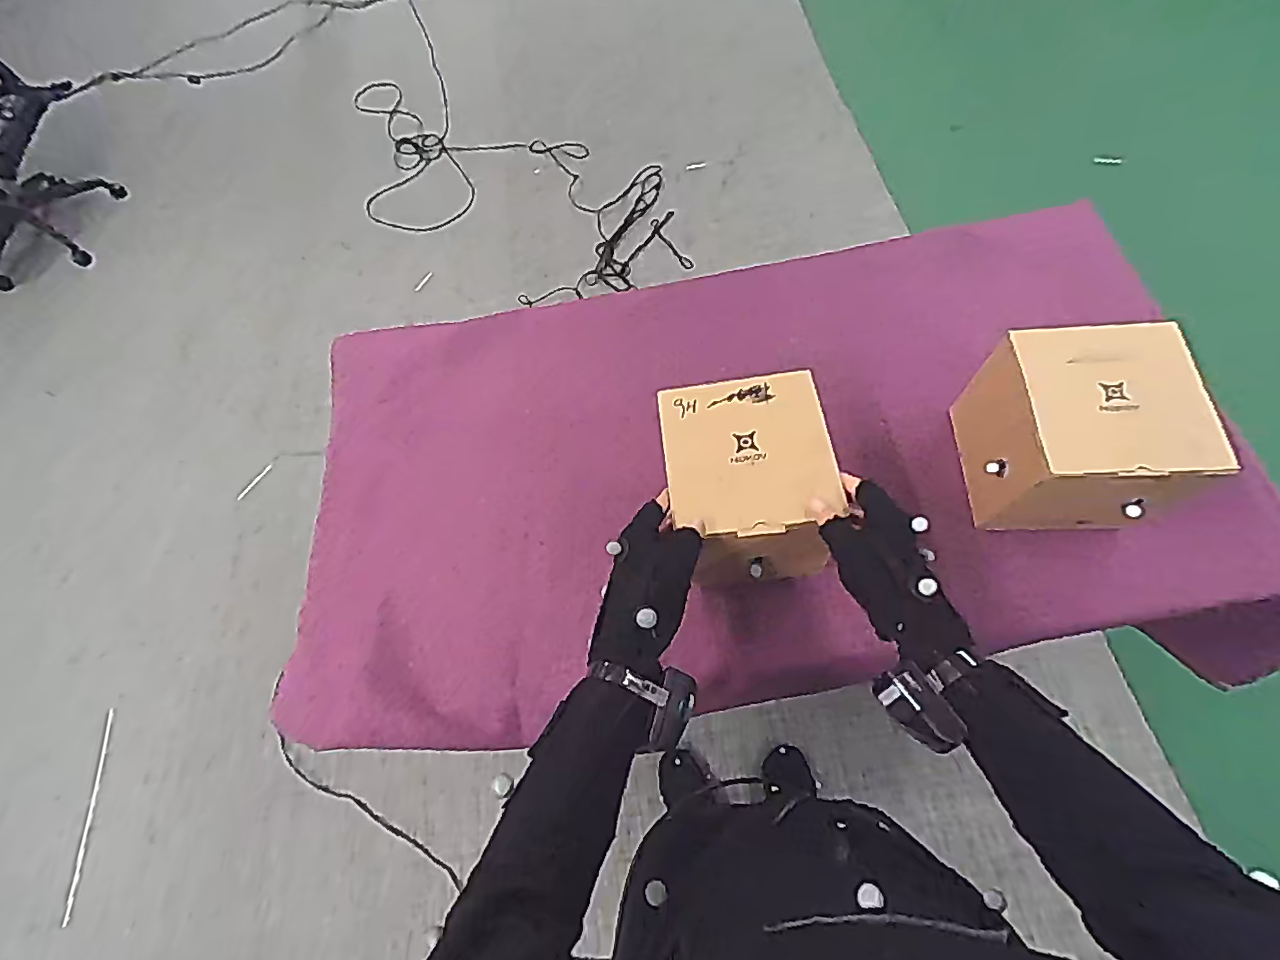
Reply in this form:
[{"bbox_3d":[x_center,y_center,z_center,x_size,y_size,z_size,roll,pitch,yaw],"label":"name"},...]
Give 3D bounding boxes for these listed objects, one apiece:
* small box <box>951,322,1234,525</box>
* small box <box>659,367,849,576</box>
[{"bbox_3d":[0.484,-0.053,0.616,0.168,0.176,0.179,-1,66,8],"label":"small box"},{"bbox_3d":[0.117,0.003,0.607,0.168,0.176,0.179,-8,64,4],"label":"small box"}]
